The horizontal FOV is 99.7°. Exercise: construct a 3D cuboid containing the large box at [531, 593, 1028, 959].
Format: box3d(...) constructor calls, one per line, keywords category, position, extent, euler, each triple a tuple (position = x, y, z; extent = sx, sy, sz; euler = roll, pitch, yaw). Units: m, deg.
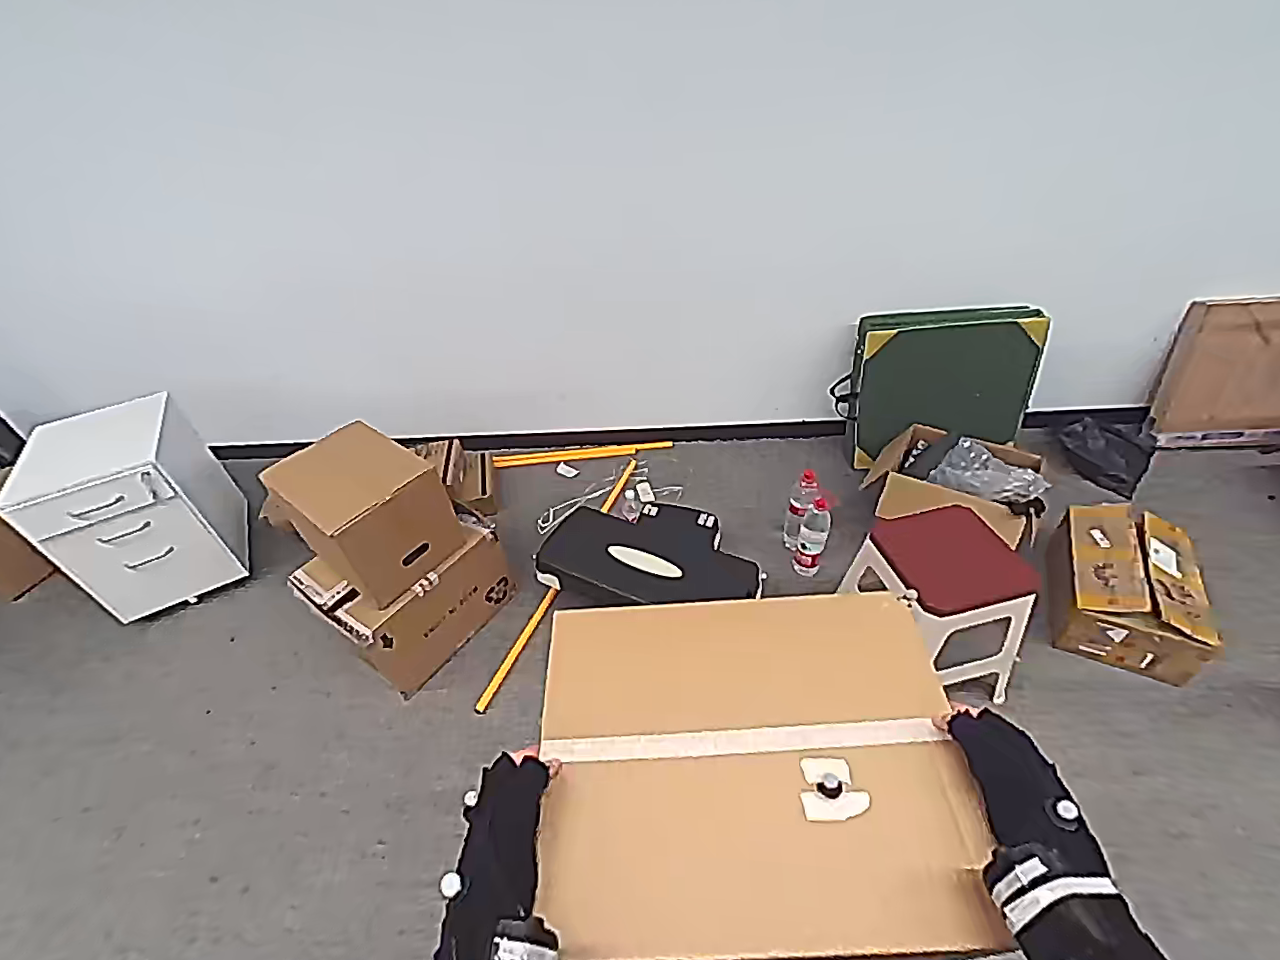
box3d(category="large box", position=(0.112, 0.360, 0.634), extent=(0.408, 0.320, 0.320), euler=(-4, 46, 2))
